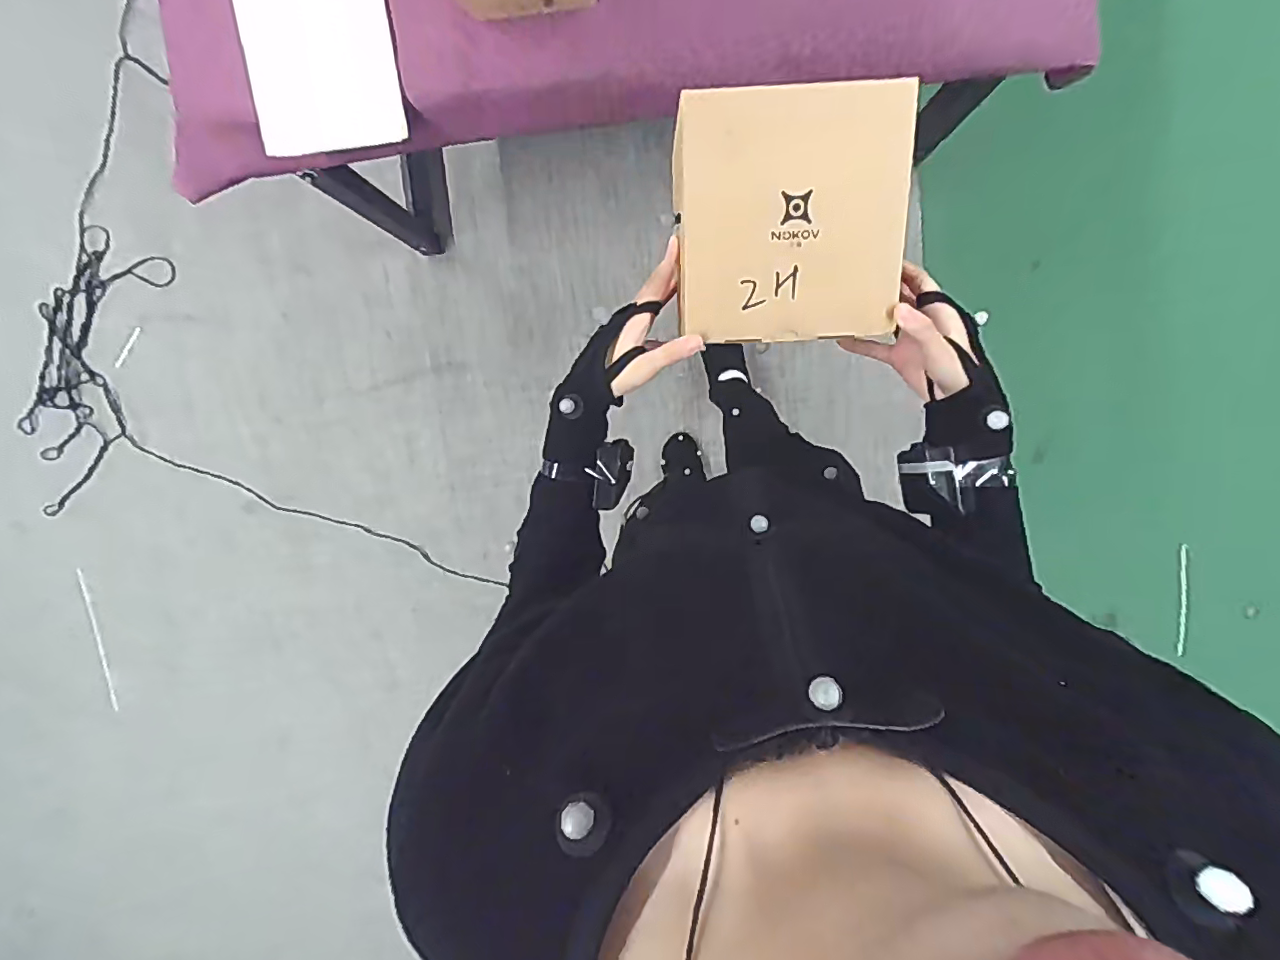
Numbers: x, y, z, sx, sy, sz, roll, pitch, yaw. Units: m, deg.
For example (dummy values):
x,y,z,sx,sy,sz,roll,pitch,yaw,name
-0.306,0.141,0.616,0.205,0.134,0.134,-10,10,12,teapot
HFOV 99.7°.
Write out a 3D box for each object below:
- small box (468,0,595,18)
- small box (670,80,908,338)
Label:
x,y,z,sx,sy,sz,roll,pitch,yaw,name
-0.146,-0.681,0.625,0.168,0.176,0.179,-4,97,3,small box
0.112,-0.219,0.482,0.168,0.176,0.179,-1,107,2,small box
